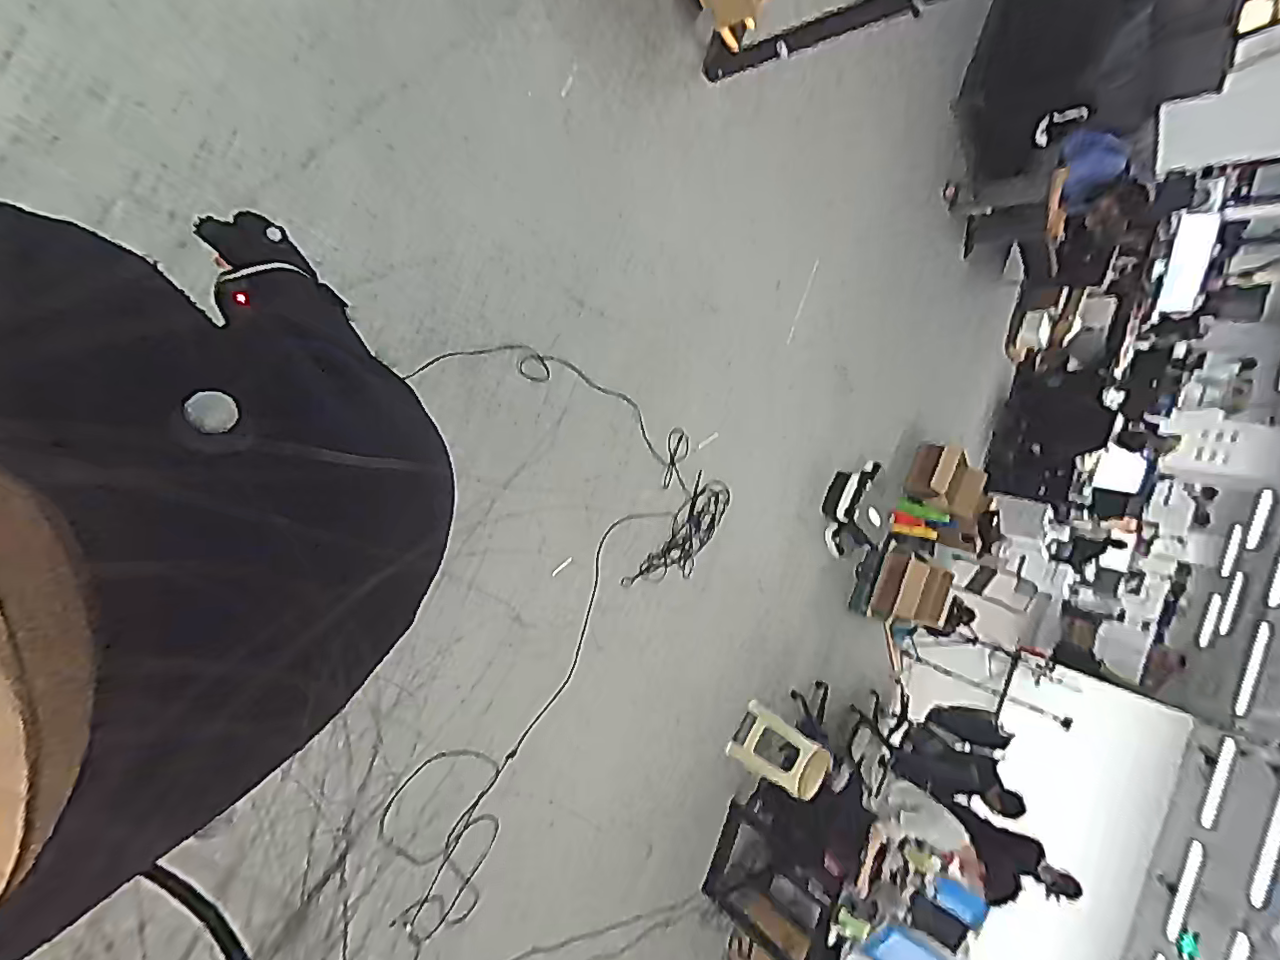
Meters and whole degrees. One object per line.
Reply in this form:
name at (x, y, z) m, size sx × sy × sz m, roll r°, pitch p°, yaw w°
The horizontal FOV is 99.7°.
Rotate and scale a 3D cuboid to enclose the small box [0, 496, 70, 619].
small box at (-1.154, 0.125, 0.954) m, size 0.168 × 0.176 × 0.179 m, roll 23°, pitch 87°, yaw -46°
